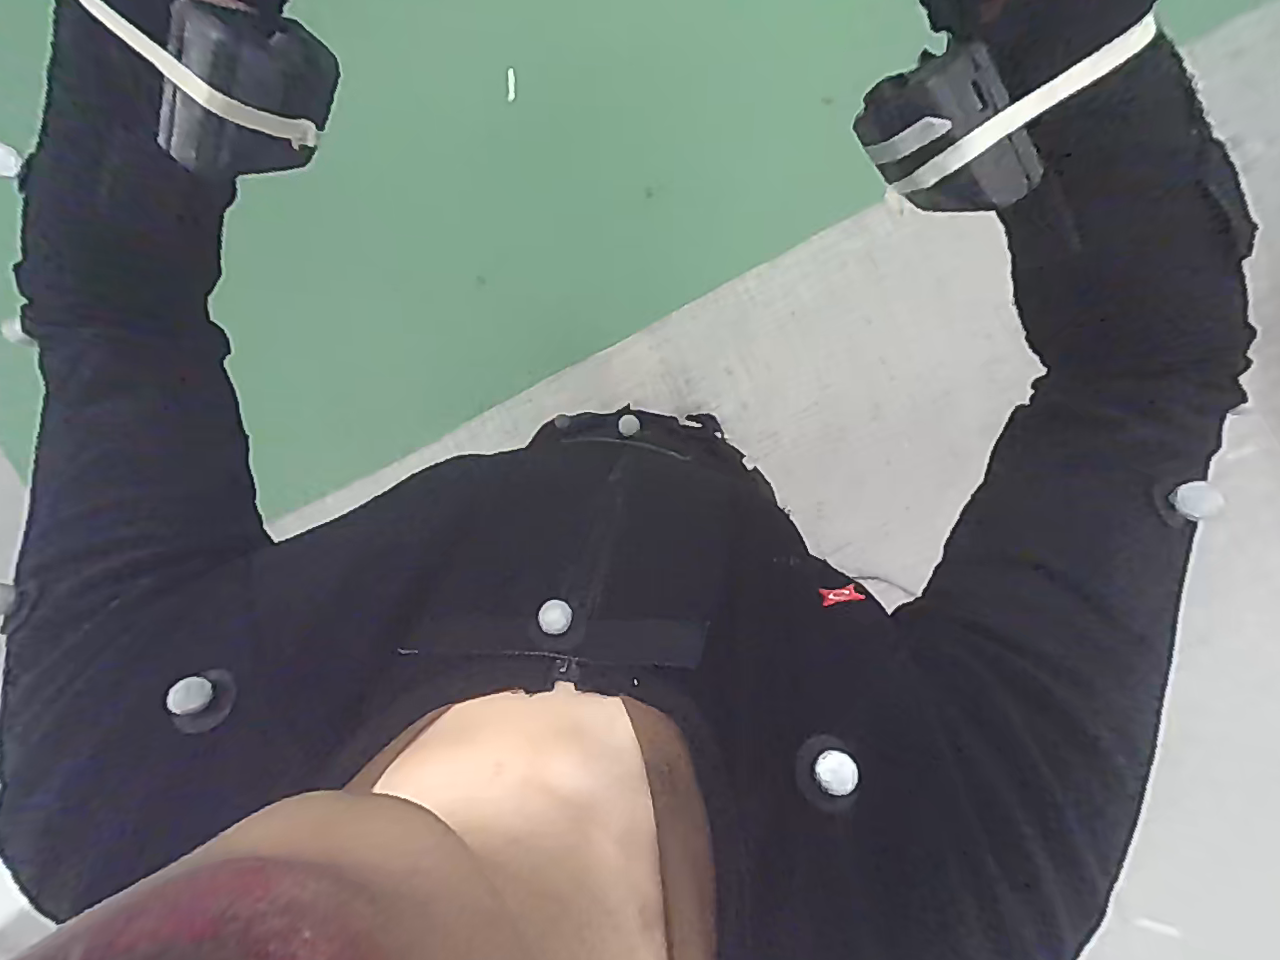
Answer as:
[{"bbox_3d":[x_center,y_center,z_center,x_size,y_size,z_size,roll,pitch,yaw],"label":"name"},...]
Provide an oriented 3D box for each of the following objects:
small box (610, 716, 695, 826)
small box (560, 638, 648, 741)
[{"bbox_3d":[0.037,0.787,1.478,0.179,0.176,0.168,-27,95,5],"label":"small box"},{"bbox_3d":[-0.090,0.554,1.454,0.179,0.176,0.168,-27,95,6],"label":"small box"}]
